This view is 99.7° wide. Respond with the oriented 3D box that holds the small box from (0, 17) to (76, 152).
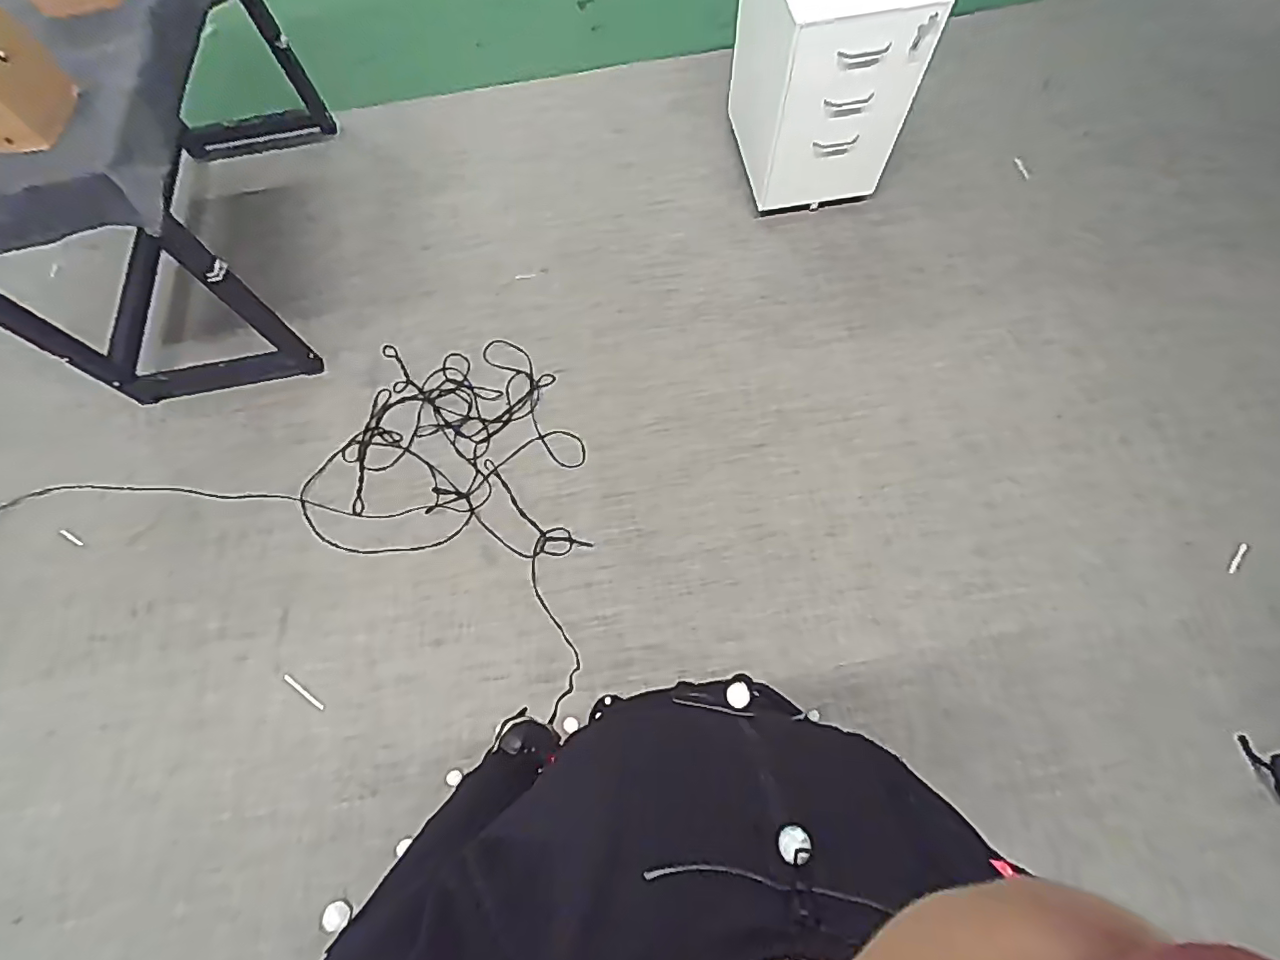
[{"bbox_3d":[-1.238,-0.744,1.015,0.168,0.176,0.179,-4,67,1],"label":"small box"}]
